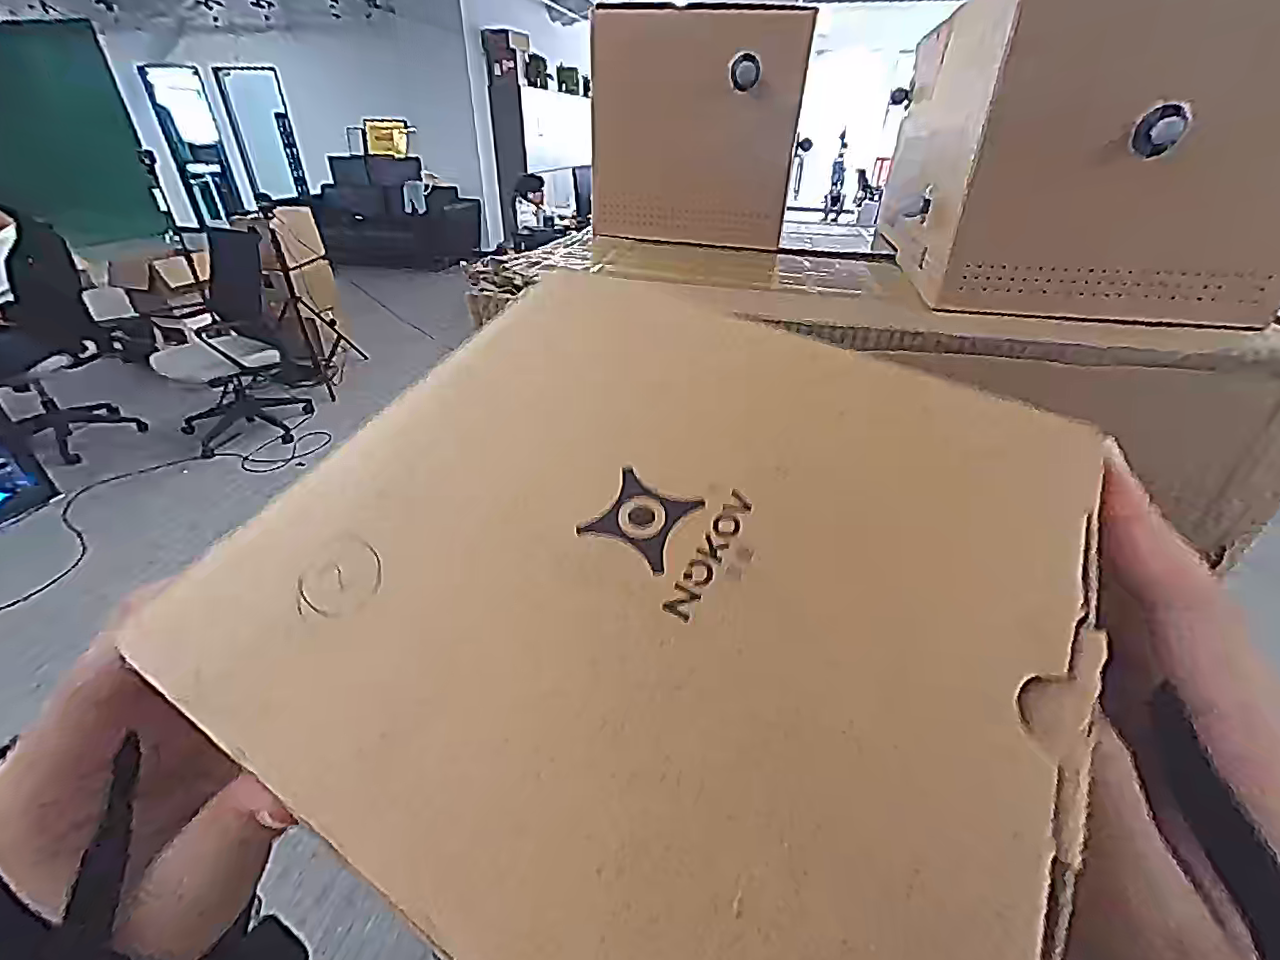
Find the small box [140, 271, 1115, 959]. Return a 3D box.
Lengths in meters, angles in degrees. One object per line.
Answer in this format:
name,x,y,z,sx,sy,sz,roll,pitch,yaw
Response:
small box,0.009,0.061,0.189,0.179,0.176,0.168,24,57,19
